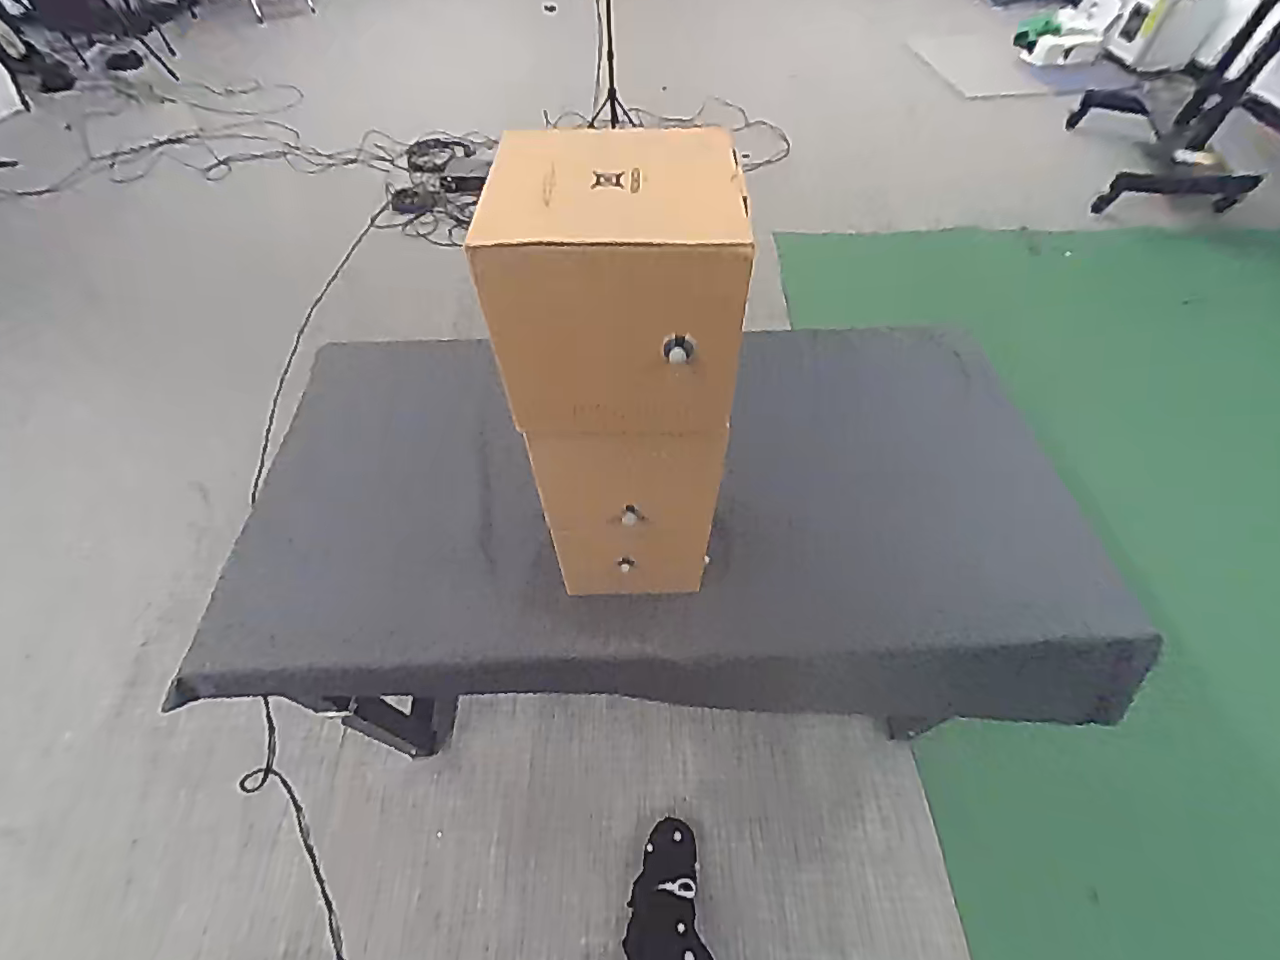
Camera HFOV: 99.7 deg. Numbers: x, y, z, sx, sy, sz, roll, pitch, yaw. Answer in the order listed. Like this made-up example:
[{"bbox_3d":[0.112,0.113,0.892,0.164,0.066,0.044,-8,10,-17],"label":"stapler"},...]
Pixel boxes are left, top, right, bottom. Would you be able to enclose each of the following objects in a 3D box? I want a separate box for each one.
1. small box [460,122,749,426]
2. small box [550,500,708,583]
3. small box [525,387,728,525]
[{"bbox_3d":[-0.019,-0.157,0.432,0.179,0.176,0.168,-1,54,2],"label":"small box"},{"bbox_3d":[-0.012,0.025,0.702,0.179,0.176,0.168,-2,55,1],"label":"small box"},{"bbox_3d":[-0.014,-0.064,0.569,0.179,0.176,0.168,-3,56,-1],"label":"small box"}]
